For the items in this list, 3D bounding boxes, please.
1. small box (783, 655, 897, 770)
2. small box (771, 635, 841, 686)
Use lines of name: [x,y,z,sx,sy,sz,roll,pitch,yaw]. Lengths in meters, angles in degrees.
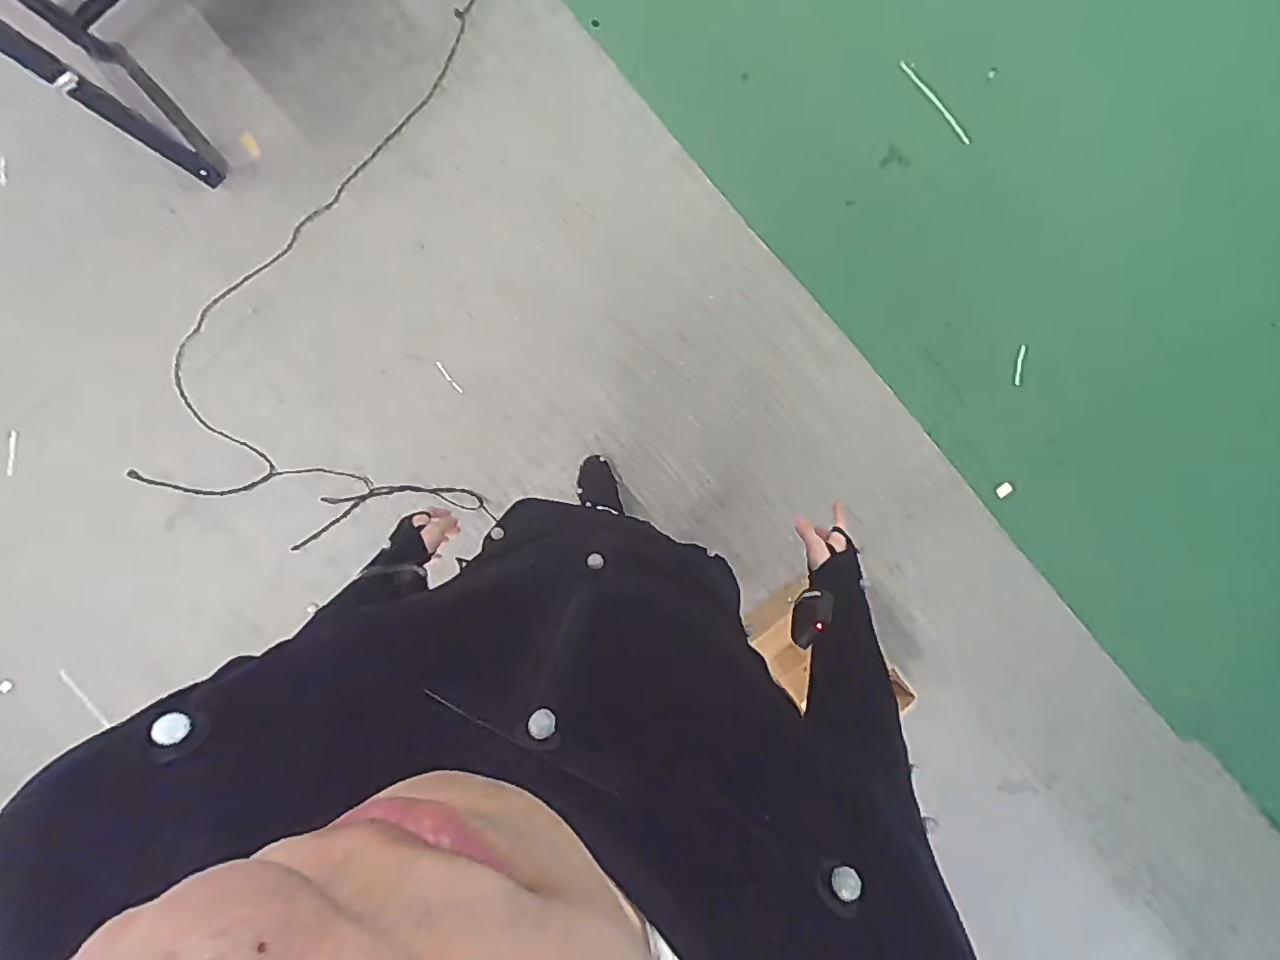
small box: [0.477,0.551,1.320,0.168,0.176,0.179,-39,89,1]
small box: [0.485,0.549,1.482,0.168,0.176,0.179,-38,89,2]
